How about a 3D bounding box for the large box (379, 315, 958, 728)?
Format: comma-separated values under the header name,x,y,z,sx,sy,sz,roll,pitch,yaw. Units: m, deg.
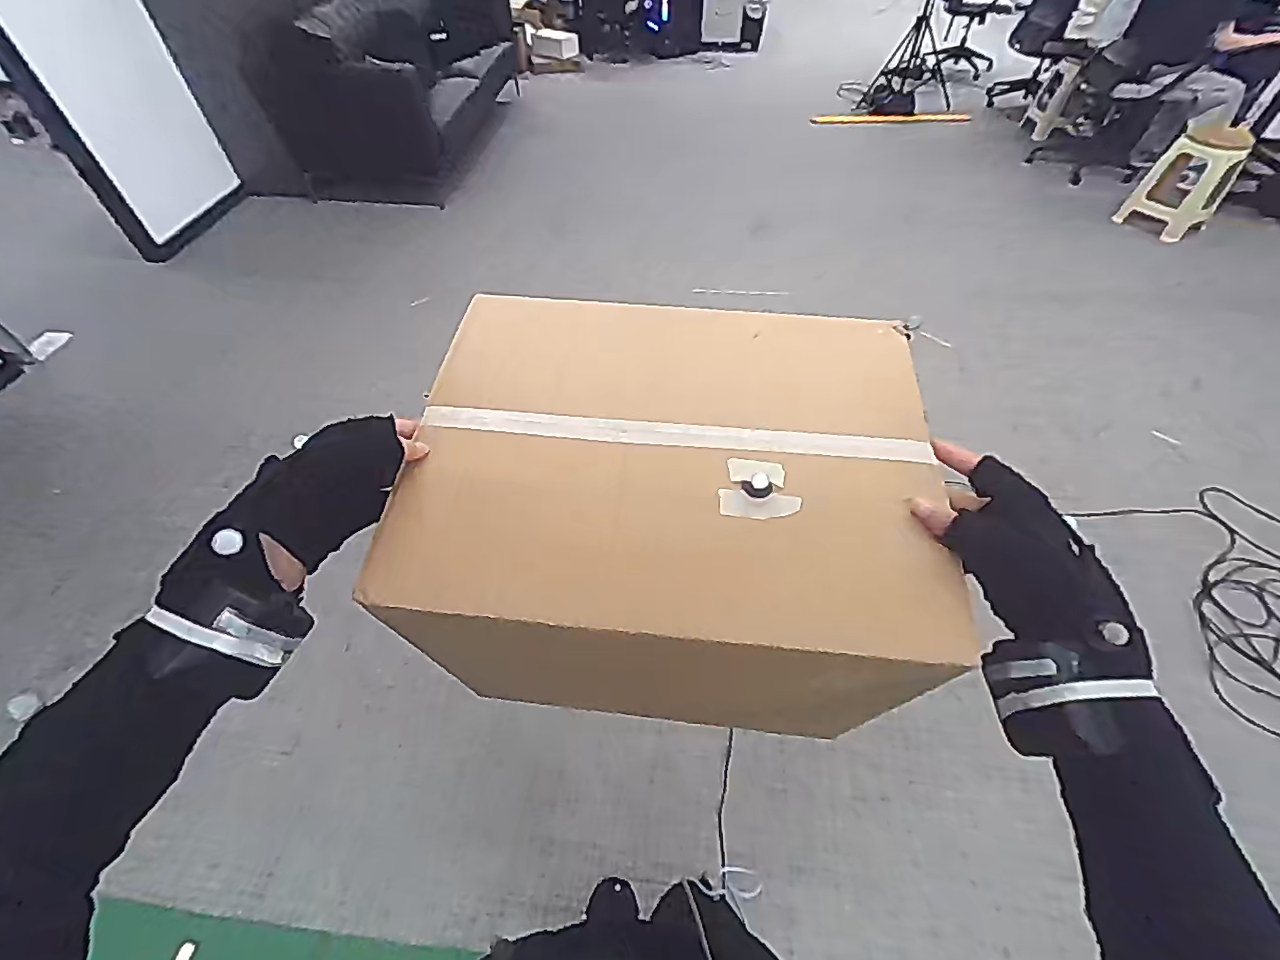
name,x,y,z,sx,sy,sz,roll,pitch,yaw
large box,0.027,0.055,0.569,0.408,0.320,0.320,5,58,4
